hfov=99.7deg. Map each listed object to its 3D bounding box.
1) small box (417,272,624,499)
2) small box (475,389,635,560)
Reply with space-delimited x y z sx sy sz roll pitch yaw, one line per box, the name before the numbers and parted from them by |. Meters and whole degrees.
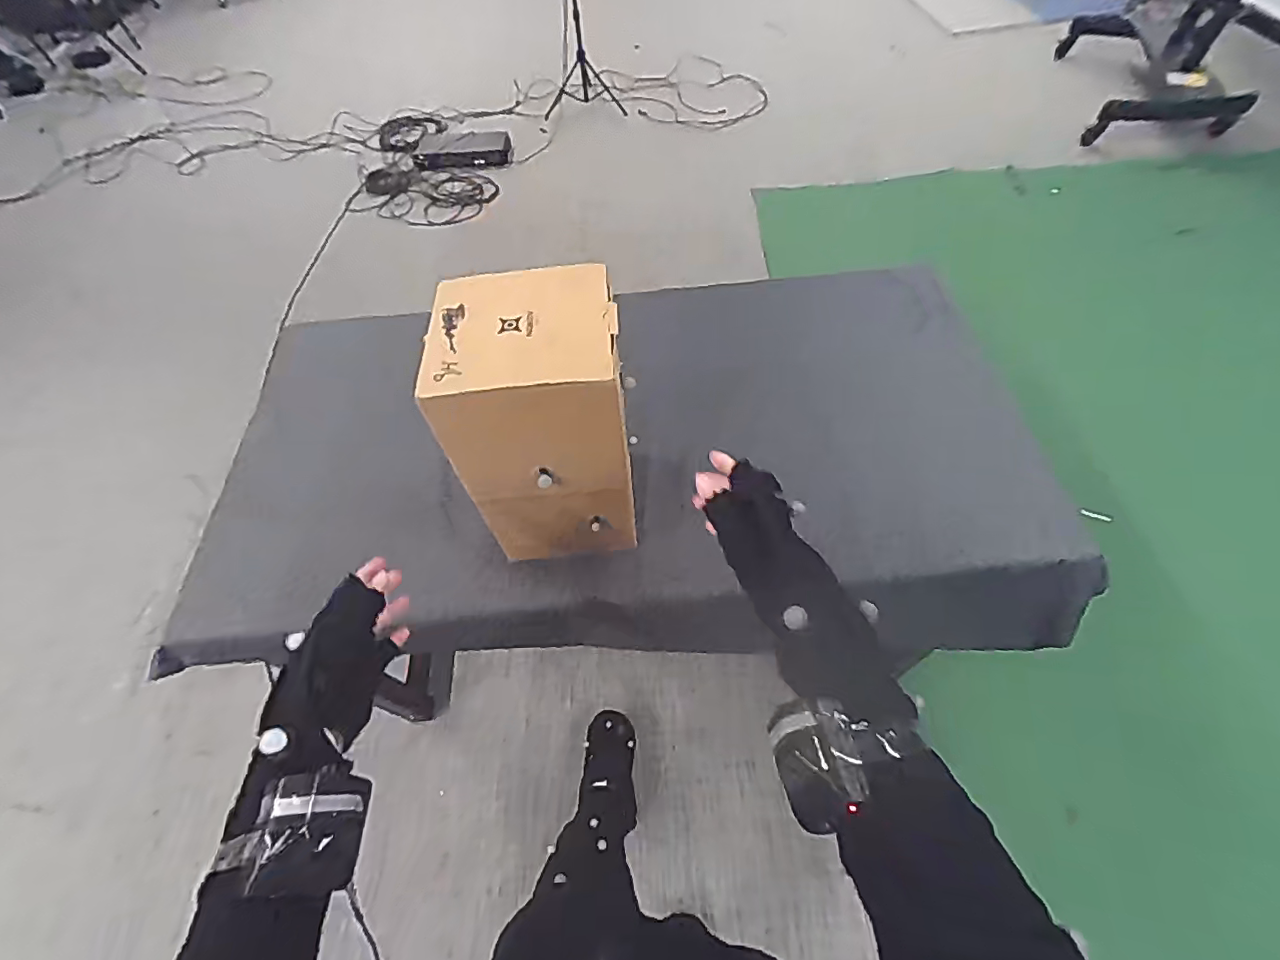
small box | -0.108 -0.094 0.574 0.179 0.176 0.168 -5 55 0
small box | -0.099 -0.008 0.714 0.179 0.176 0.168 -7 56 2
